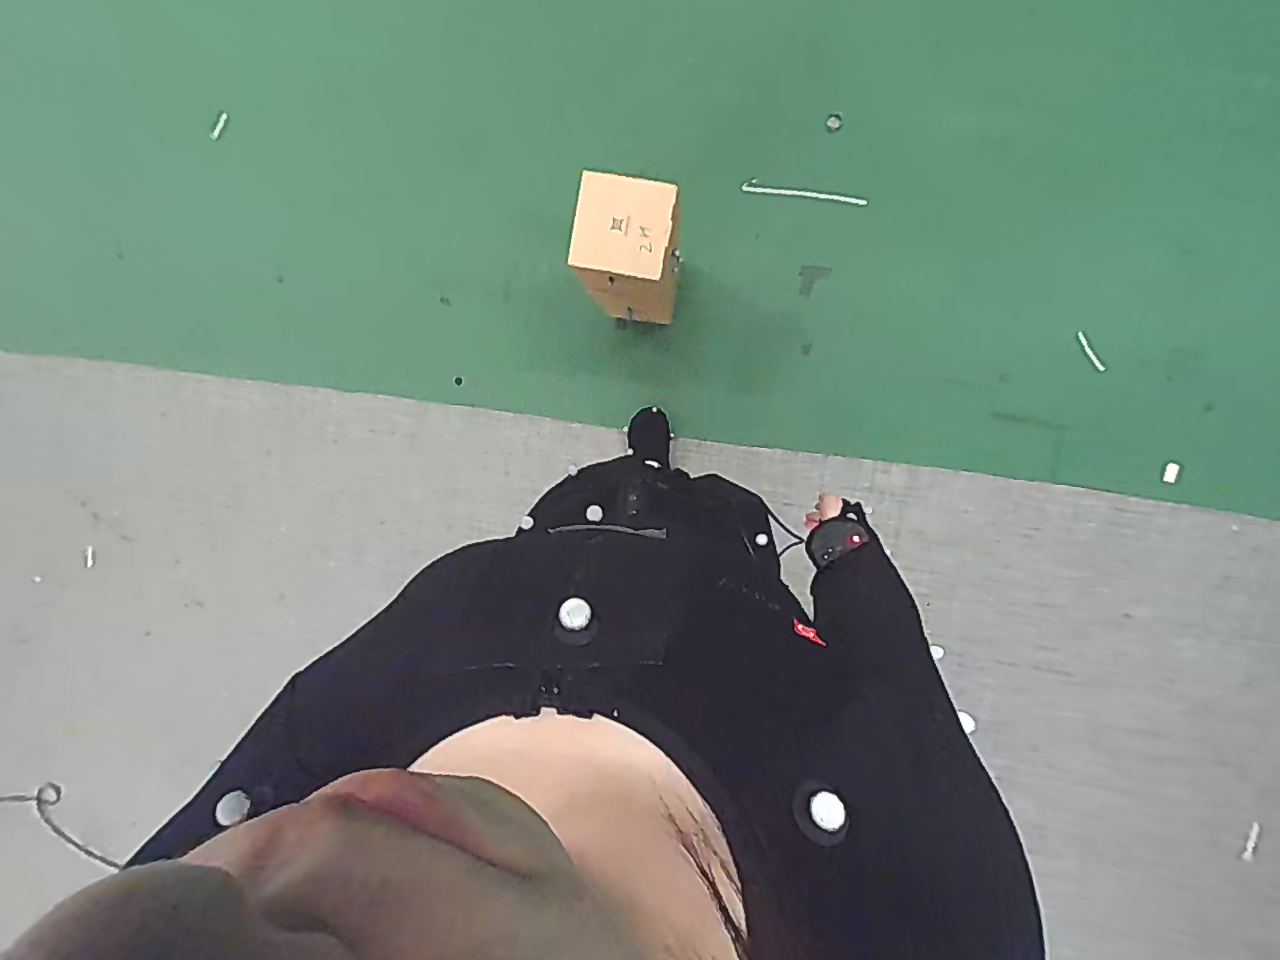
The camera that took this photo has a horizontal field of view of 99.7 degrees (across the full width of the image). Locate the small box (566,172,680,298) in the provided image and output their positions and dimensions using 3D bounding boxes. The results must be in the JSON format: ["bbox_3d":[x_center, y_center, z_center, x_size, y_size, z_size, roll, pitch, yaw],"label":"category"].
[{"bbox_3d":[-0.025,-0.458,1.035,0.179,0.176,0.168,12,98,4],"label":"small box"}]

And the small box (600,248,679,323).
[{"bbox_3d":[0.005,-0.502,1.360,0.168,0.176,0.179,9,97,5],"label":"small box"}]
